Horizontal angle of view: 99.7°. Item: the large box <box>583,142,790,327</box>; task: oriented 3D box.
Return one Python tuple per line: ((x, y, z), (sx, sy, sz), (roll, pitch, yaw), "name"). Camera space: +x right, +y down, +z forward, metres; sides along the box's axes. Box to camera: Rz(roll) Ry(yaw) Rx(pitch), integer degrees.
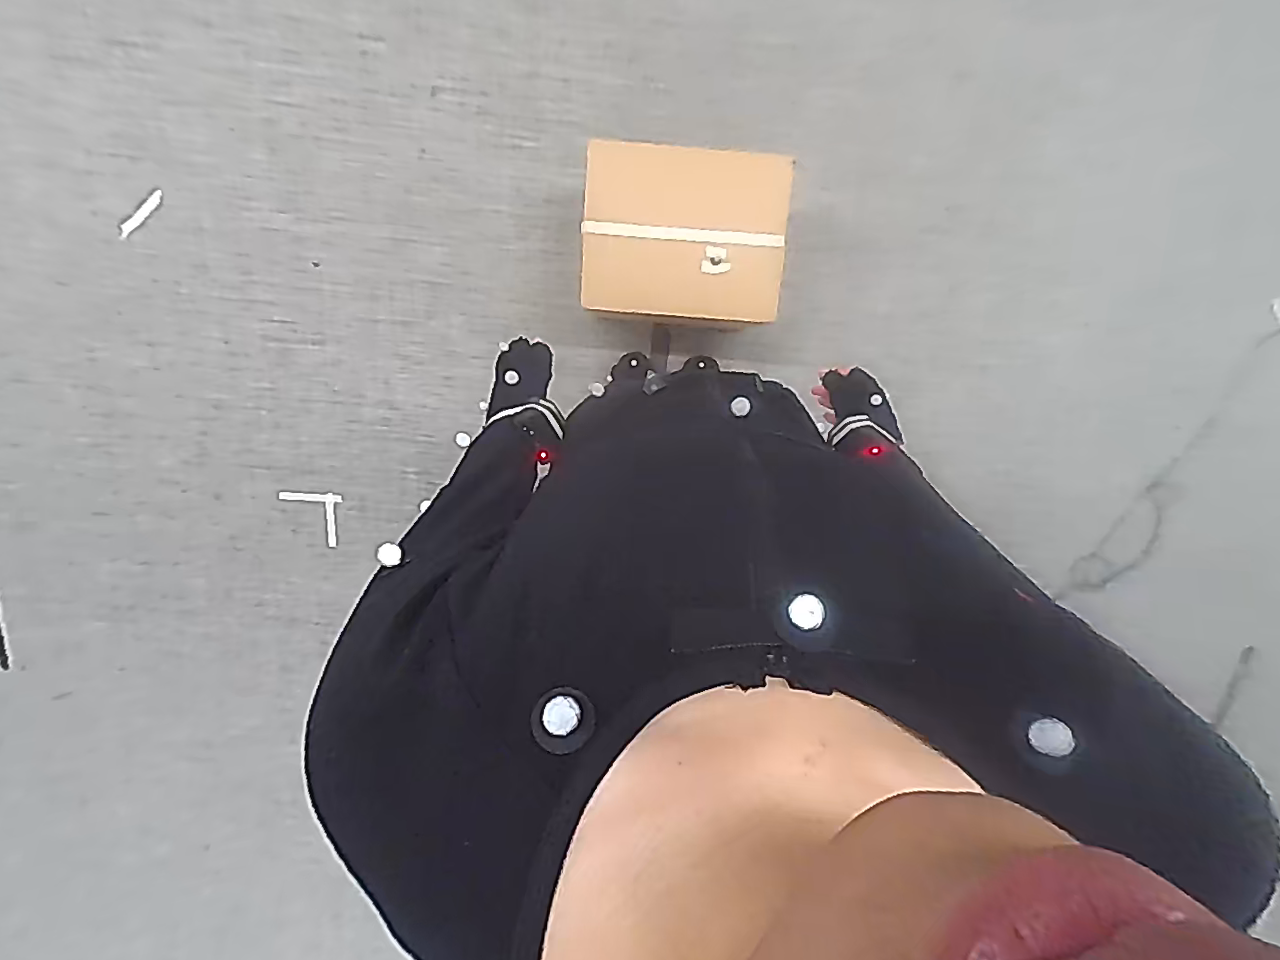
((0.082, -0.523, 1.222), (0.408, 0.320, 0.320), (3, 103, -2), "large box")
